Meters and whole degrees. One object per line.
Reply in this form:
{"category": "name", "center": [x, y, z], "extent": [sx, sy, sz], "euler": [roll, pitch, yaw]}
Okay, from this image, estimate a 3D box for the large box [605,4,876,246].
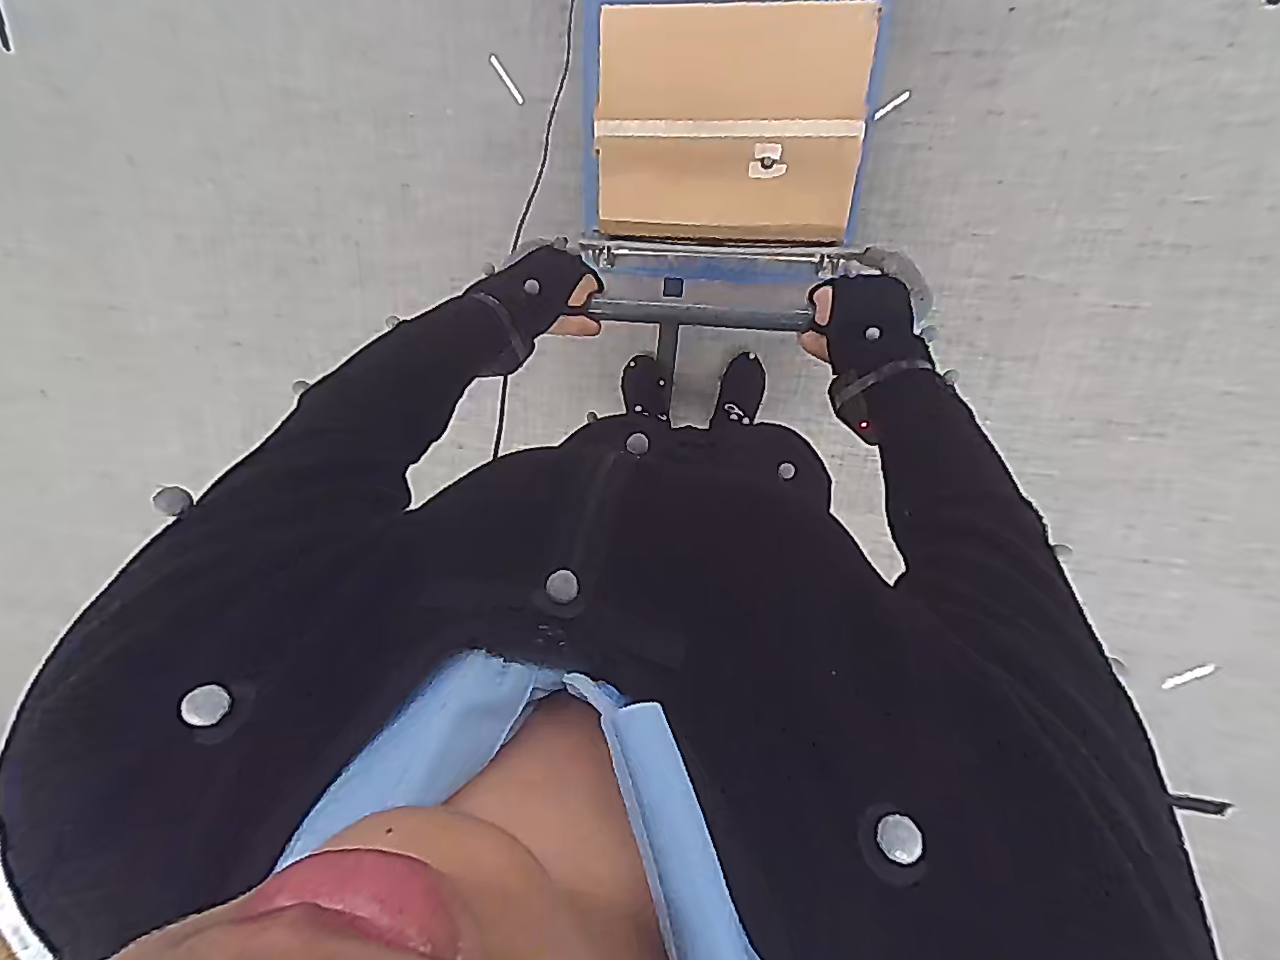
{"category": "large box", "center": [0.158, -0.604, 0.988], "extent": [0.408, 0.320, 0.320], "euler": [4, 112, 6]}
